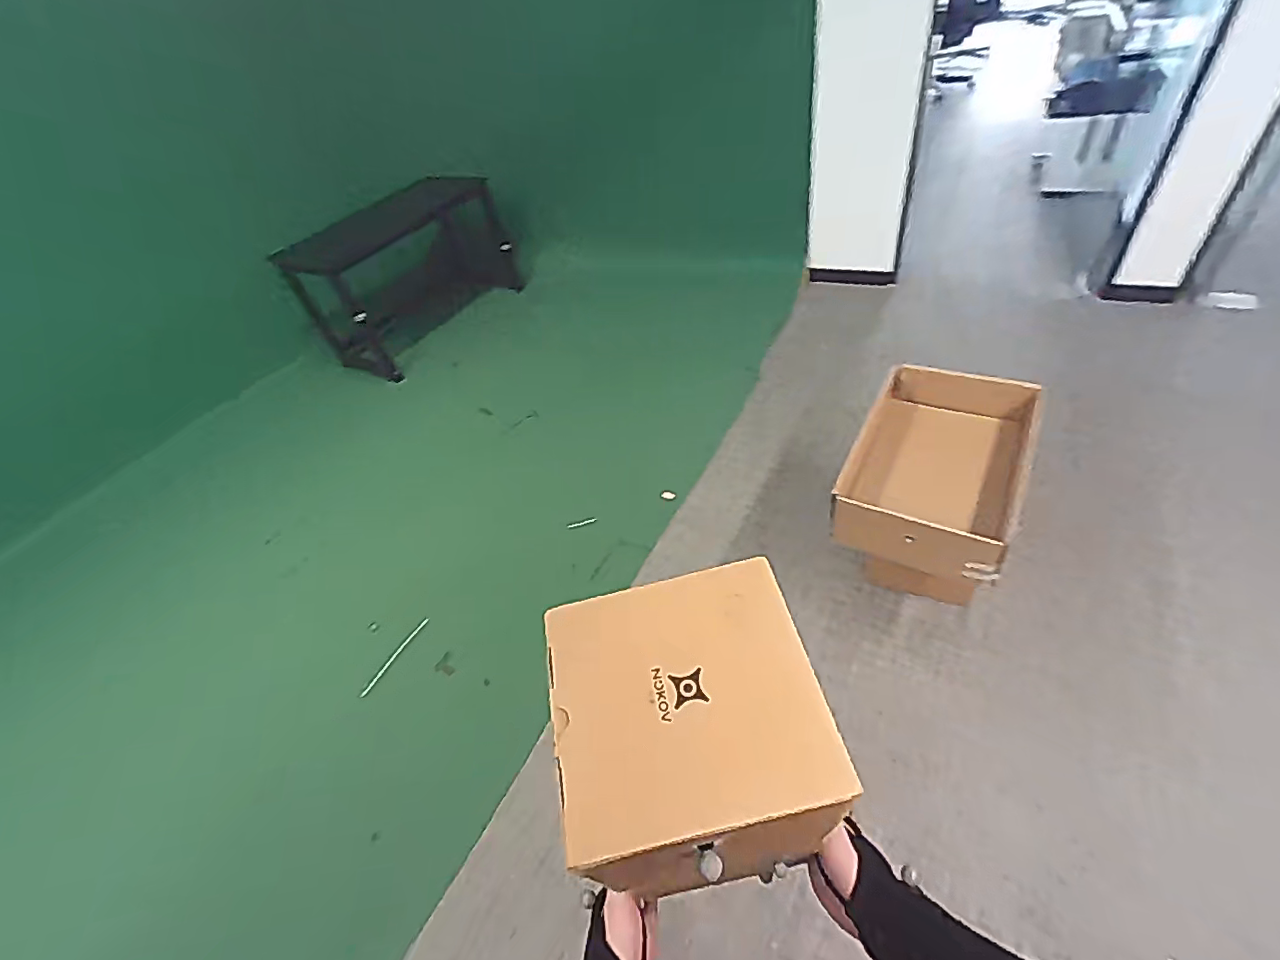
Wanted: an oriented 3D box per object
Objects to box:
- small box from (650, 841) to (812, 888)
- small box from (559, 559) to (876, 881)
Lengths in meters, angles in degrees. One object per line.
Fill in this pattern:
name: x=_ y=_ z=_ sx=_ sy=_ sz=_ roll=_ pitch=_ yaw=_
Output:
small box: x=0.094 y=0.387 z=0.670 sx=0.179 sy=0.176 sz=0.168 roll=-12 pitch=49 yaw=1
small box: x=0.047 y=0.188 z=0.414 sx=0.179 sy=0.176 sz=0.168 roll=-13 pitch=50 yaw=0
